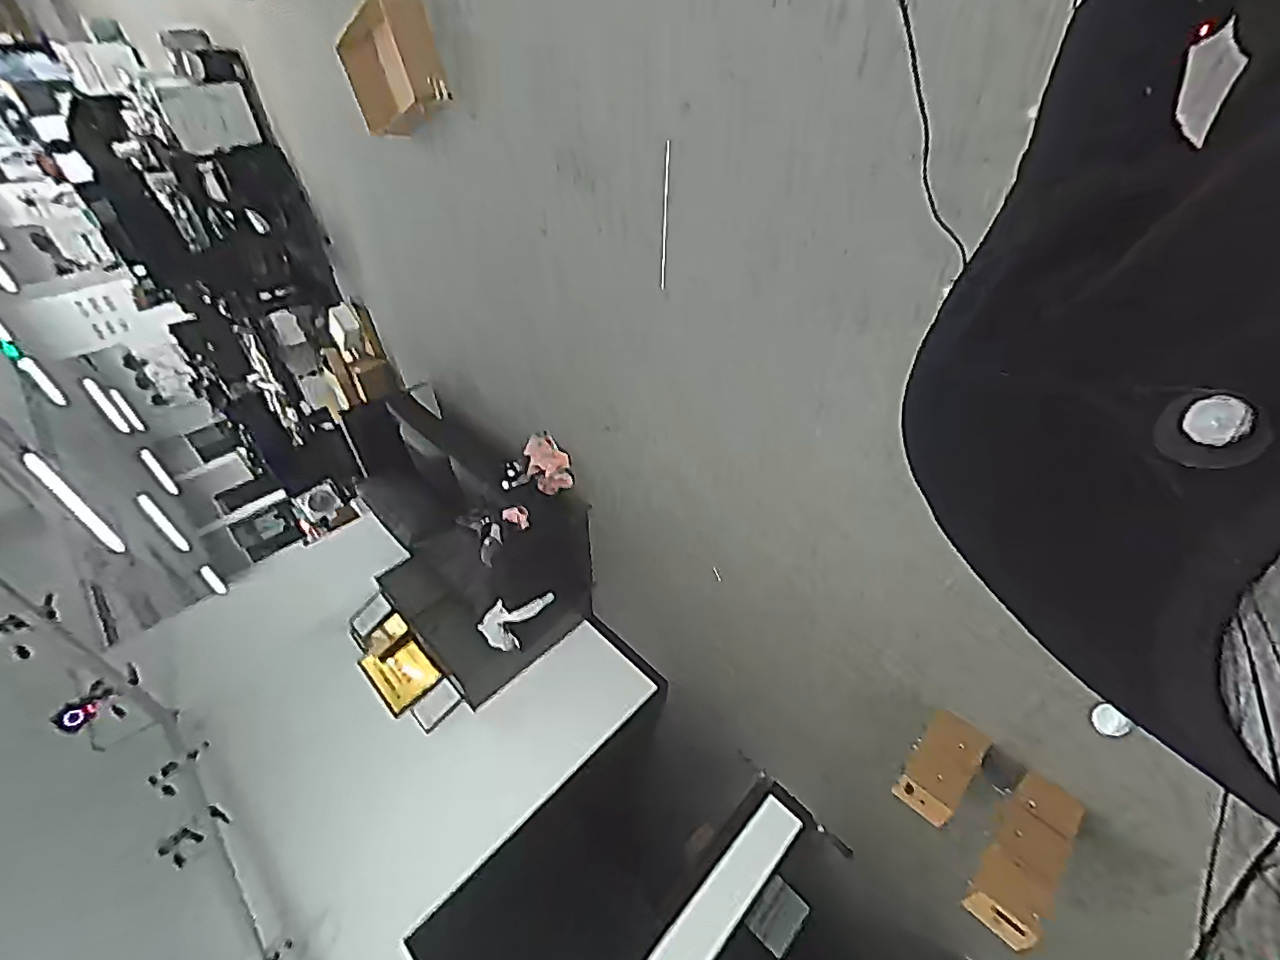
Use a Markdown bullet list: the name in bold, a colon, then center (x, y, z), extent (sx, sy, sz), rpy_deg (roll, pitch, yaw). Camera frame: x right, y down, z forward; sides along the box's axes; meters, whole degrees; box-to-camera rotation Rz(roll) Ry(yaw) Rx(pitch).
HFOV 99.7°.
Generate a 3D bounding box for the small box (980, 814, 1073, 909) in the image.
- **small box**: center (1.257, 1.229, 1.758), extent (0.179, 0.176, 0.168), rpy_deg (31, 140, 33)

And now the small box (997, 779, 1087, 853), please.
- **small box**: center (1.375, 1.164, 1.851), extent (0.179, 0.176, 0.168), rpy_deg (31, 140, 34)
